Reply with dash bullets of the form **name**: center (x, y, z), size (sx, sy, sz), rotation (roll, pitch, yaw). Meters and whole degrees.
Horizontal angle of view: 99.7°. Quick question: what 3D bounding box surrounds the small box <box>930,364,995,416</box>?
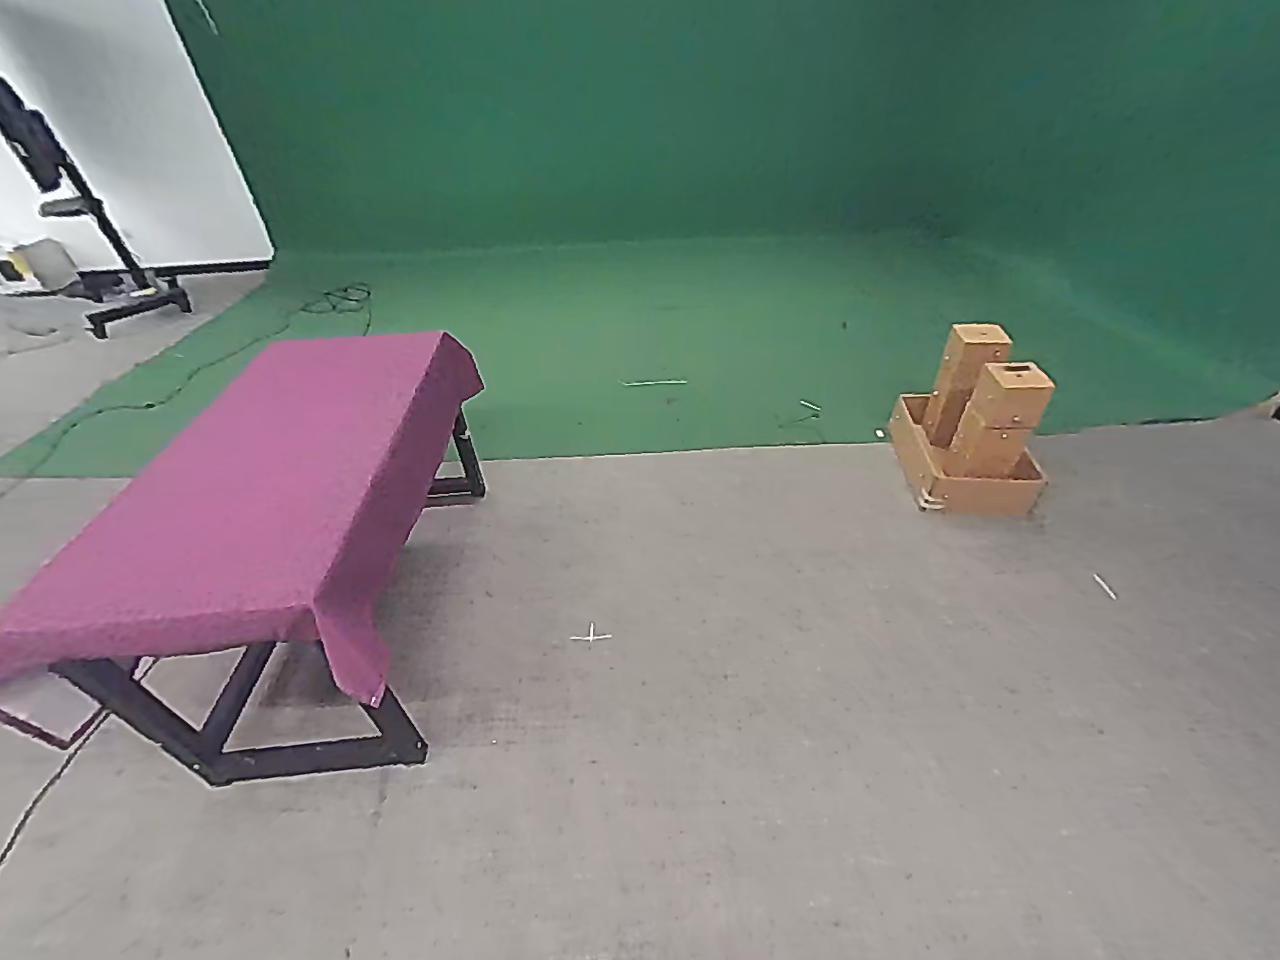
- **small box**: center (1.361, -0.385, 2.293), size (0.179, 0.176, 0.168), rotation (4, 41, 11)

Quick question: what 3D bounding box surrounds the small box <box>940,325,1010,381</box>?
- **small box**: center (1.349, -0.513, 2.190), size (0.179, 0.176, 0.168), rotation (3, 41, 9)

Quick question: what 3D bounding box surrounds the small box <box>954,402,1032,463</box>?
- **small box**: center (1.326, -0.178, 2.044), size (0.179, 0.176, 0.168), rotation (1, 39, 7)
